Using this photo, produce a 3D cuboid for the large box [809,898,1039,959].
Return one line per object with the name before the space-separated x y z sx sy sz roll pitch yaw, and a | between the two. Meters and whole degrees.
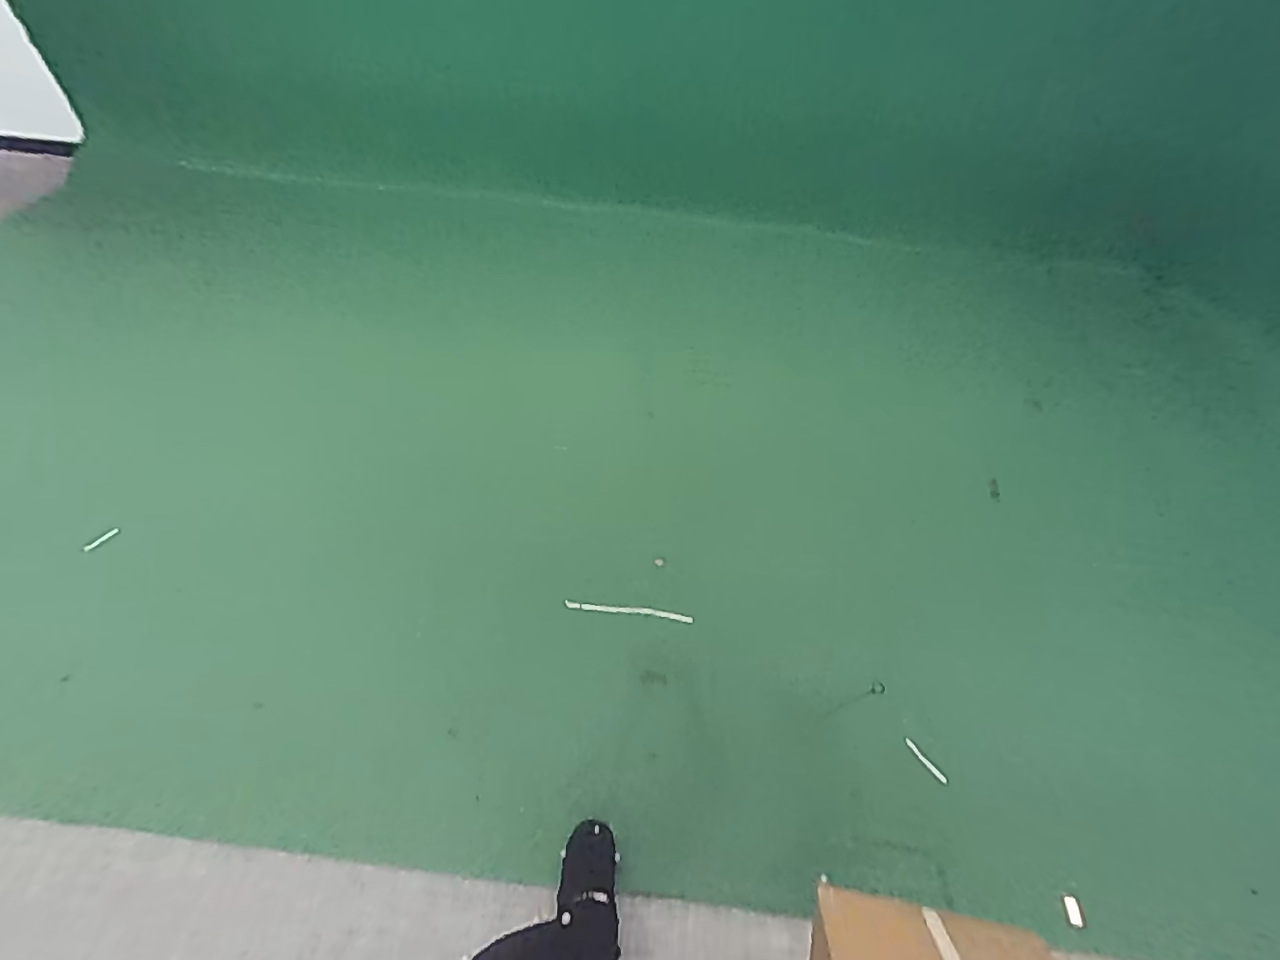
large box | 0.365 0.793 0.599 0.320 0.408 0.320 9 89 10
